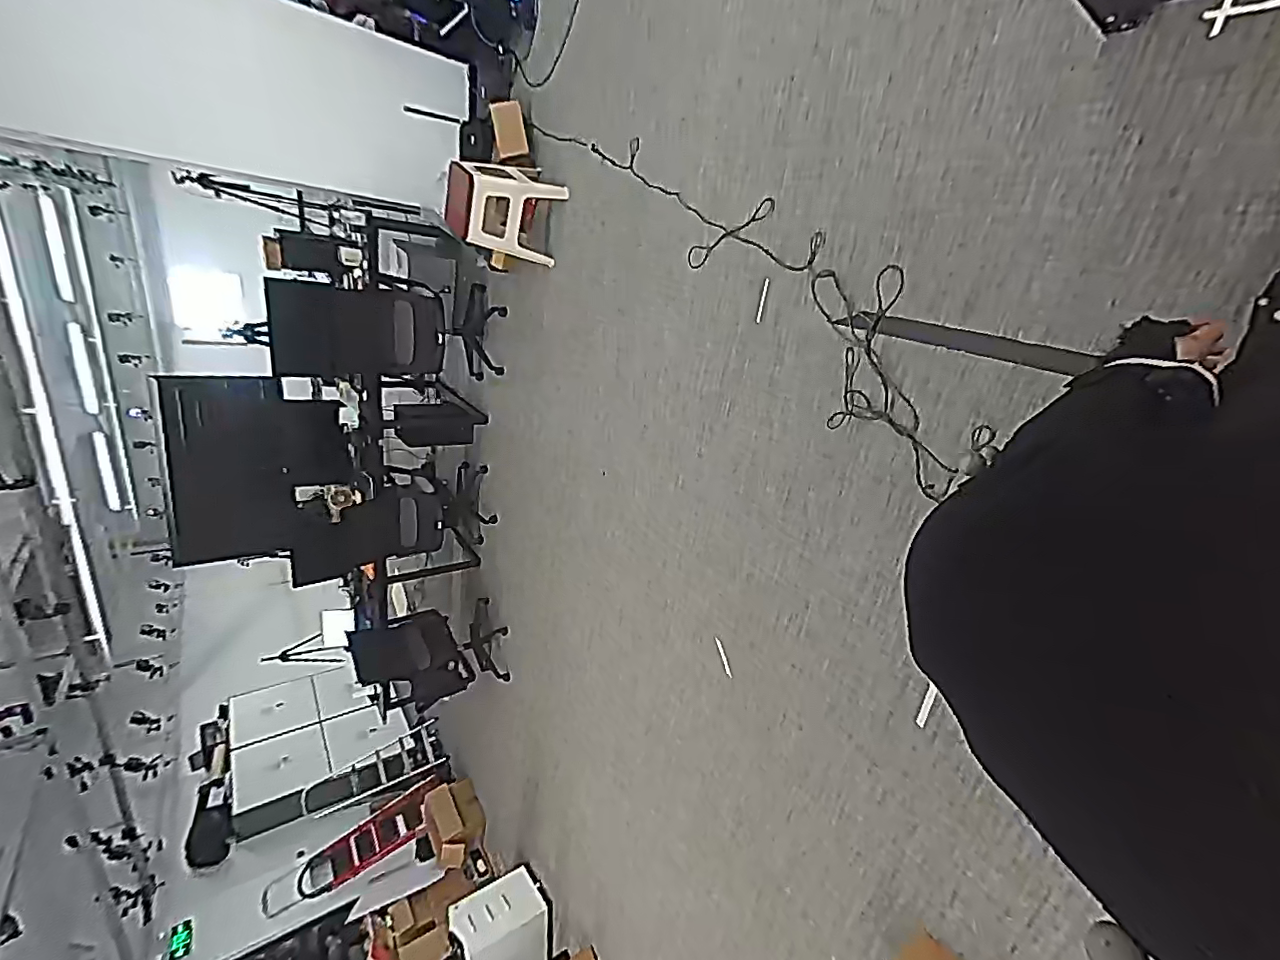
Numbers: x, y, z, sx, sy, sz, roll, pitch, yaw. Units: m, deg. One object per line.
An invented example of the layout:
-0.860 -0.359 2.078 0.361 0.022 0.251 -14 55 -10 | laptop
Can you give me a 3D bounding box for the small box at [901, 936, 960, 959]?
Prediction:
0.800 1.392 1.458 0.179 0.176 0.168 27 118 49 | small box
